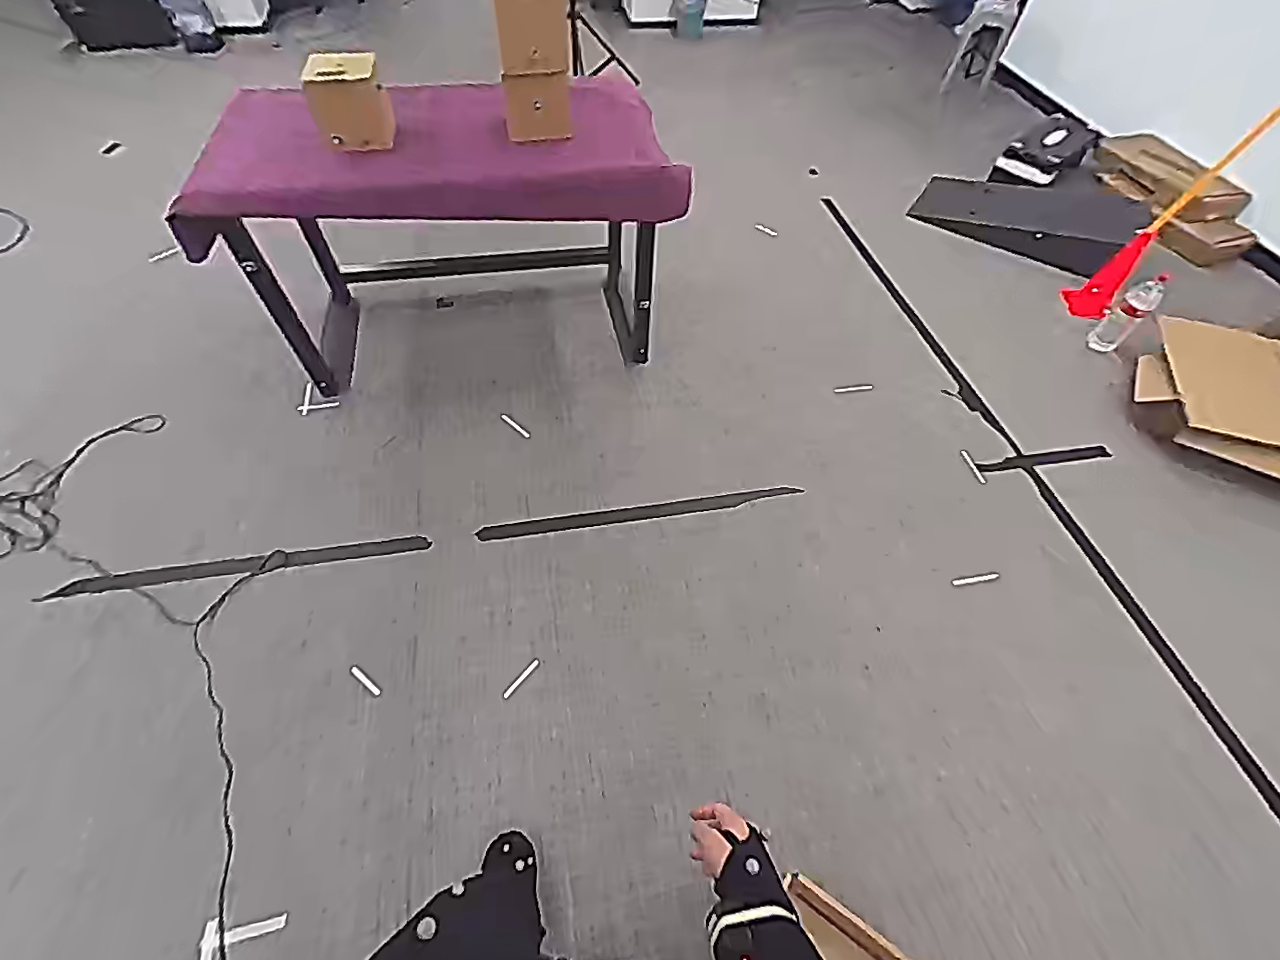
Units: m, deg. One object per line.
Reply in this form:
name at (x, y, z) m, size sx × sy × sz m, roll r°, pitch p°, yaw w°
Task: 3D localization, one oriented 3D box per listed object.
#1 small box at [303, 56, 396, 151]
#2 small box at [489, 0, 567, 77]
small box at (-0.771, -1.007, 1.454) m, size 0.168 × 0.176 × 0.179 m, roll -8°, pitch 55°, yaw -9°
small box at (-0.287, -1.164, 1.387) m, size 0.179 × 0.176 × 0.168 m, roll -12°, pitch 56°, yaw -11°
